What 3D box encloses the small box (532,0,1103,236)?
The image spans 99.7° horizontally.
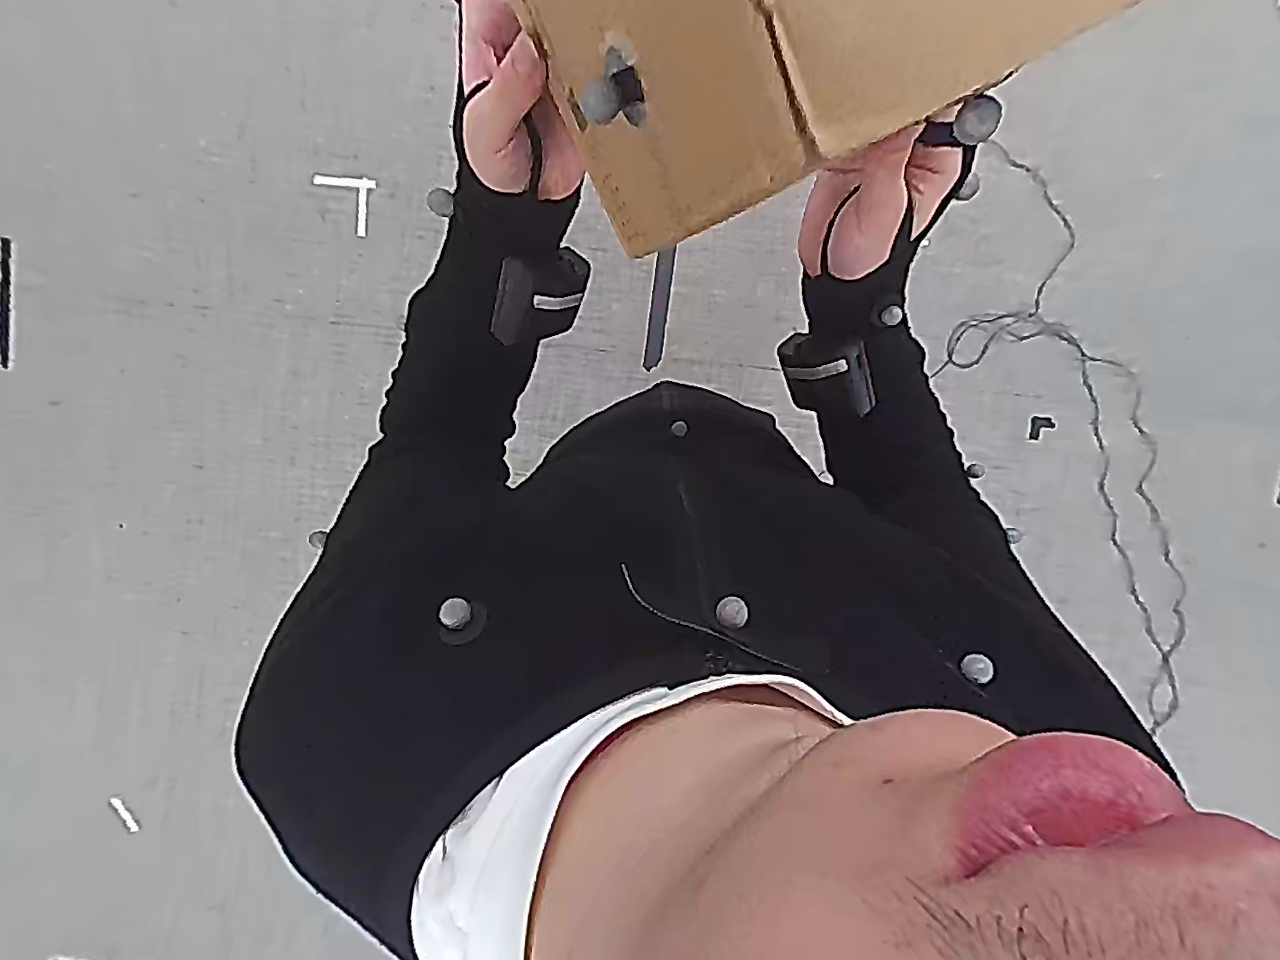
[{"bbox_3d":[0.054,-0.204,0.179,0.179,0.176,0.168,-31,112,-5],"label":"small box"}]
